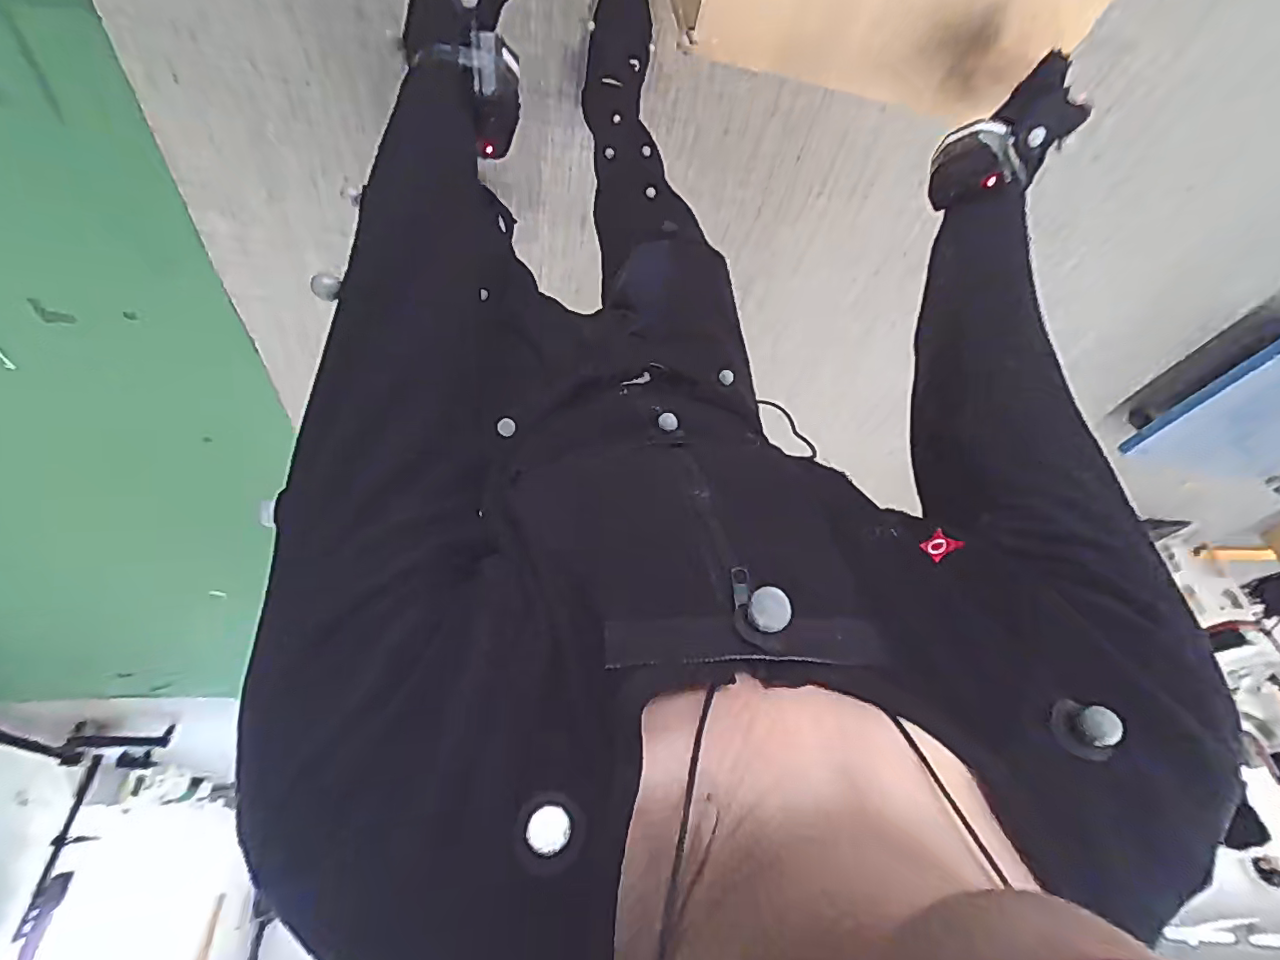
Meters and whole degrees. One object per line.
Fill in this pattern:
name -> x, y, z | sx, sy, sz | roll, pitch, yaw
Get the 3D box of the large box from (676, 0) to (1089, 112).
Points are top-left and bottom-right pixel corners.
large box -> 0.262, -0.644, 0.541 | 0.408, 0.320, 0.320 | 4, 147, -12
